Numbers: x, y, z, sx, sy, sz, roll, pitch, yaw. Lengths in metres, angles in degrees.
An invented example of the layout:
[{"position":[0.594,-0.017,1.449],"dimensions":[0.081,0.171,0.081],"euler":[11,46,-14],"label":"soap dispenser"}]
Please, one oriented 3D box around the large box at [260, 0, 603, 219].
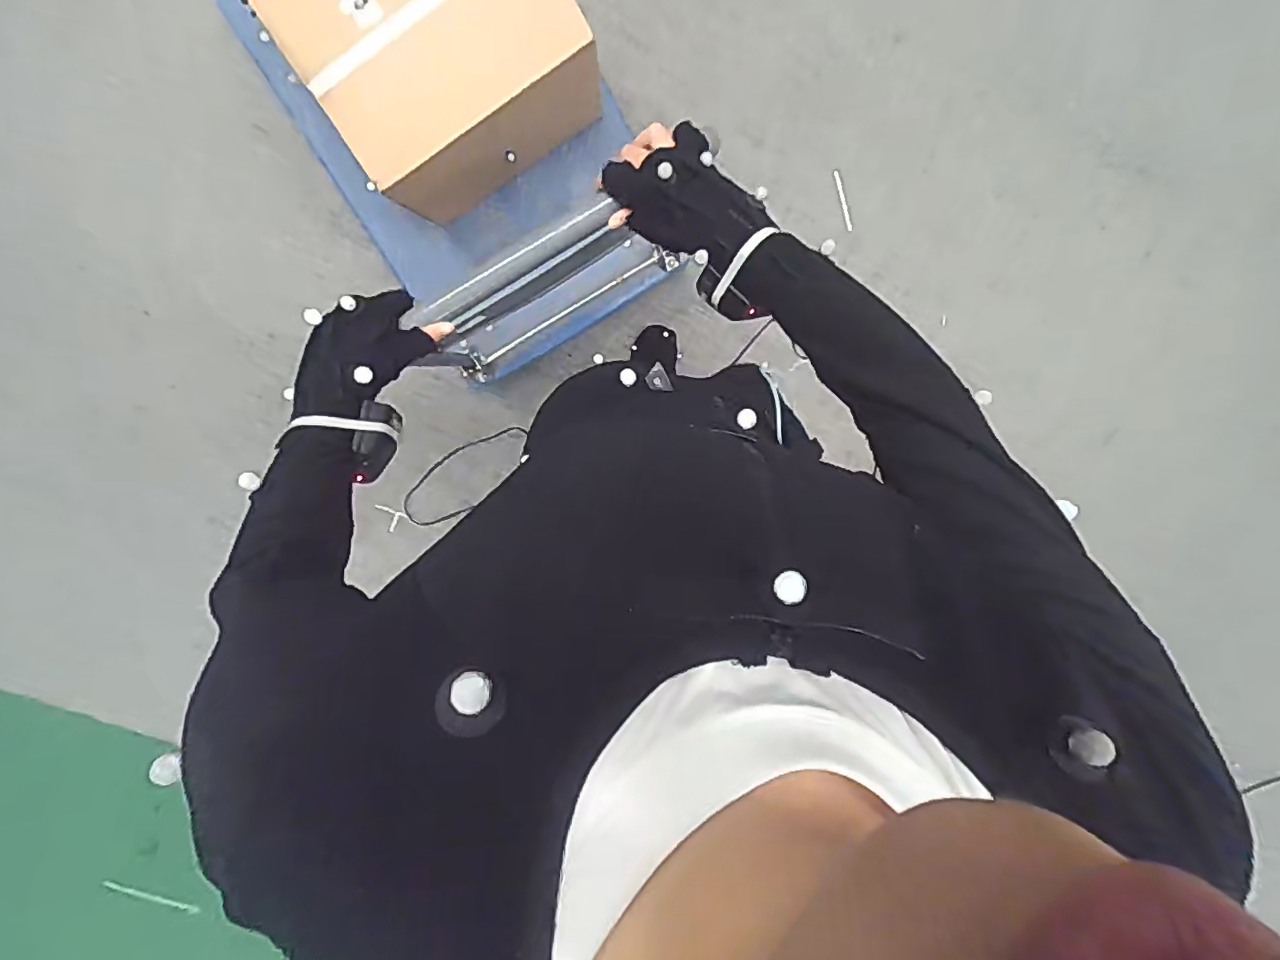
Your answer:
[{"position":[-0.315,-0.730,0.943],"dimensions":[0.408,0.320,0.320],"euler":[-31,104,8],"label":"large box"}]
